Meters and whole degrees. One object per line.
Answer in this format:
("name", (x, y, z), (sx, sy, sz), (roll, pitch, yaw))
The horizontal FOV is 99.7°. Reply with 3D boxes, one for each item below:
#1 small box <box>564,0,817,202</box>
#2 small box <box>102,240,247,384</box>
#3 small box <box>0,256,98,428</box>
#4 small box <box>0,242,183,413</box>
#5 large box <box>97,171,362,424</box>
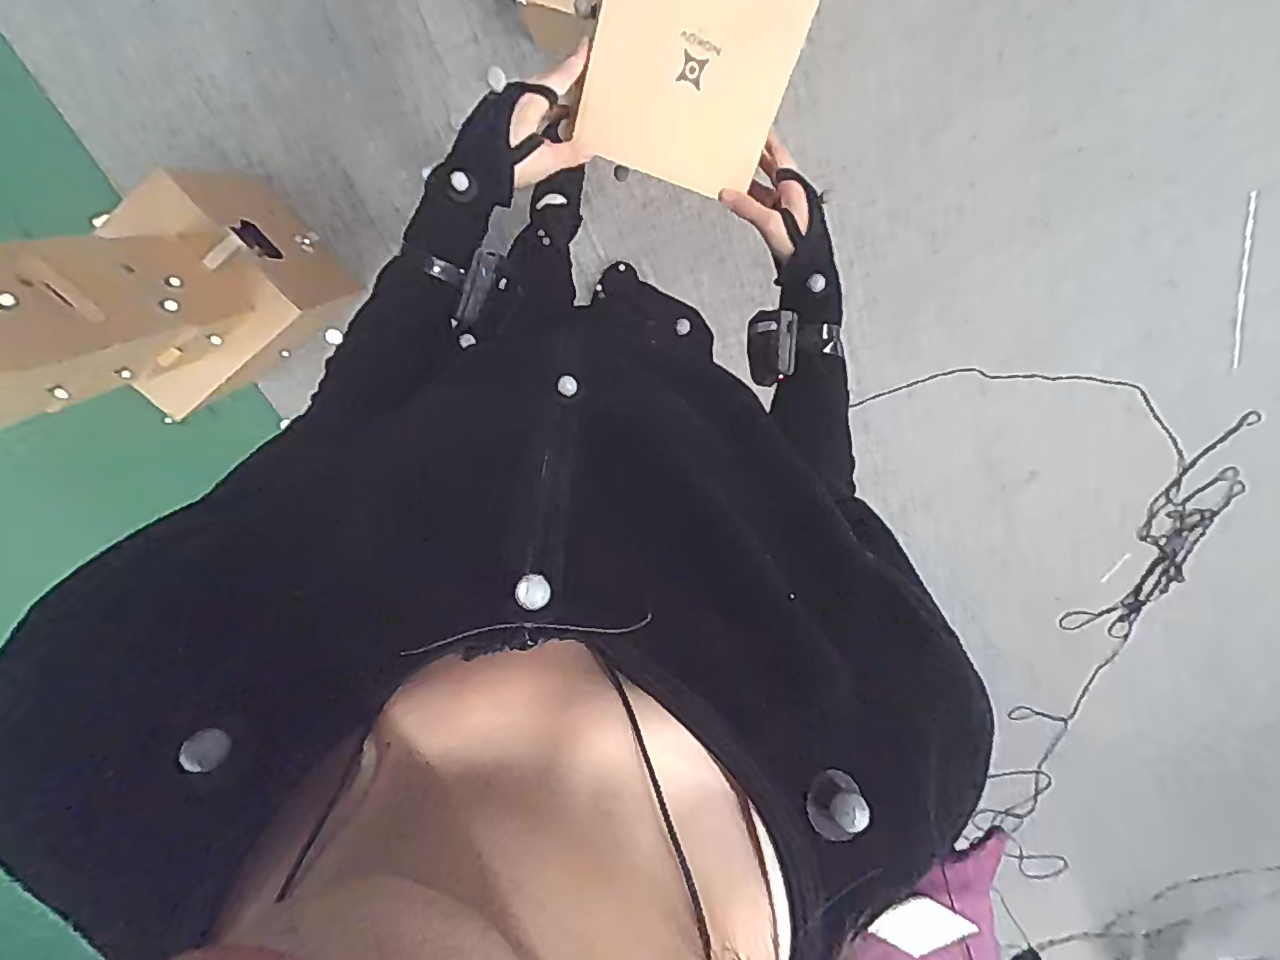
("small box", (0.030, -0.384, 0.497), (0.168, 0.176, 0.179), (10, 120, -18))
("small box", (-0.862, -0.305, 0.963), (0.168, 0.176, 0.179), (-33, 114, 12))
("small box", (-0.847, -0.163, 0.667), (0.179, 0.176, 0.168), (-33, 113, 11))
("small box", (-0.852, -0.236, 0.814), (0.179, 0.176, 0.168), (-34, 114, 13))
("large box", (-0.915, -0.401, 1.185), (0.408, 0.320, 0.320), (-33, 113, 14))
